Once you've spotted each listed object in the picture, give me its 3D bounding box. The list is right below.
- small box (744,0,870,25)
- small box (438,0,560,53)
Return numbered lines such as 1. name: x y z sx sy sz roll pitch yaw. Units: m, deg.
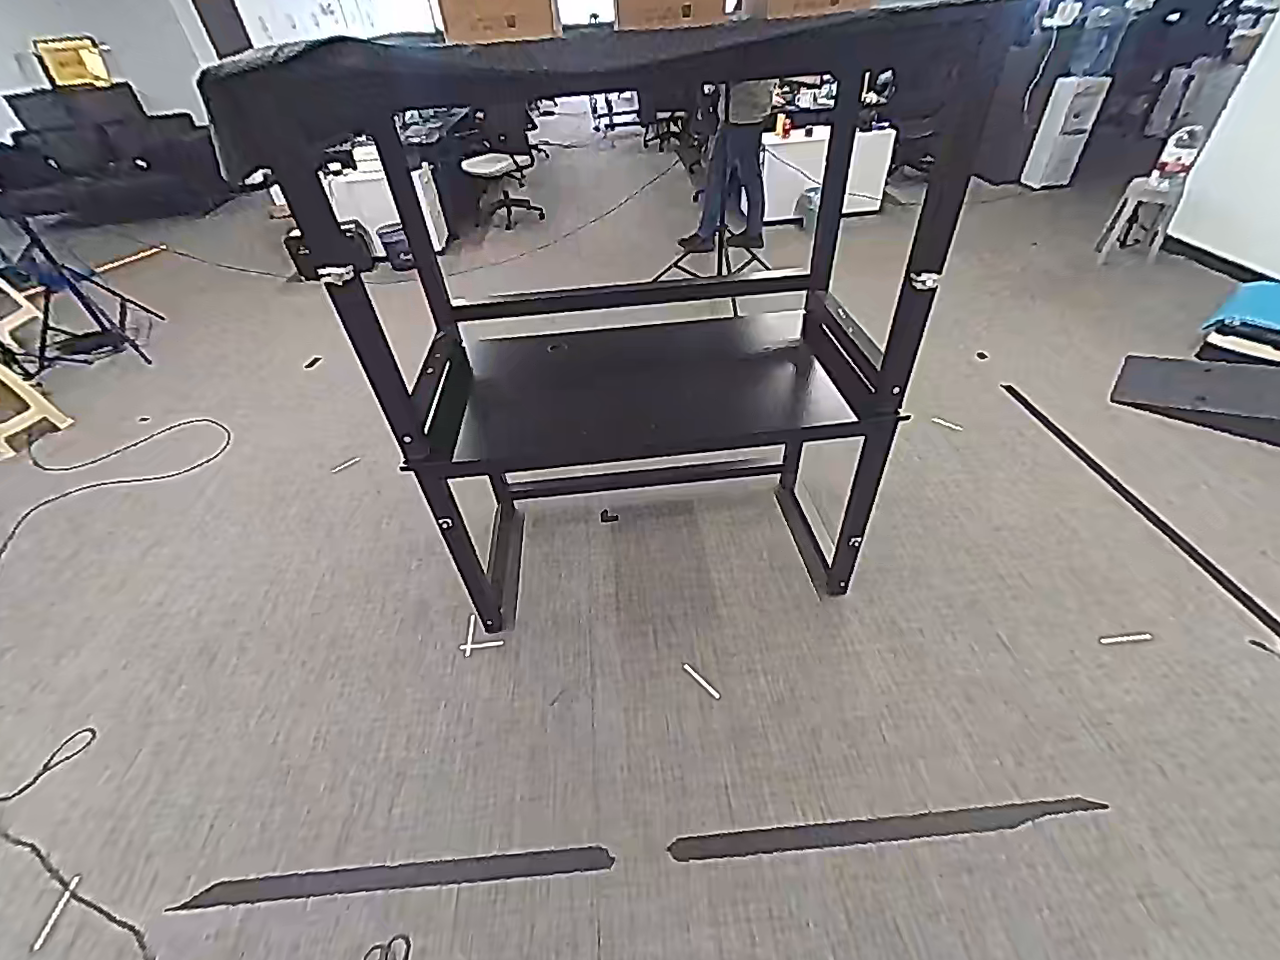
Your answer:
1. small box: 0.258 -0.816 0.833 0.168 0.176 0.179 -6 41 1
2. small box: -0.222 -0.780 0.841 0.168 0.176 0.179 -4 40 1
